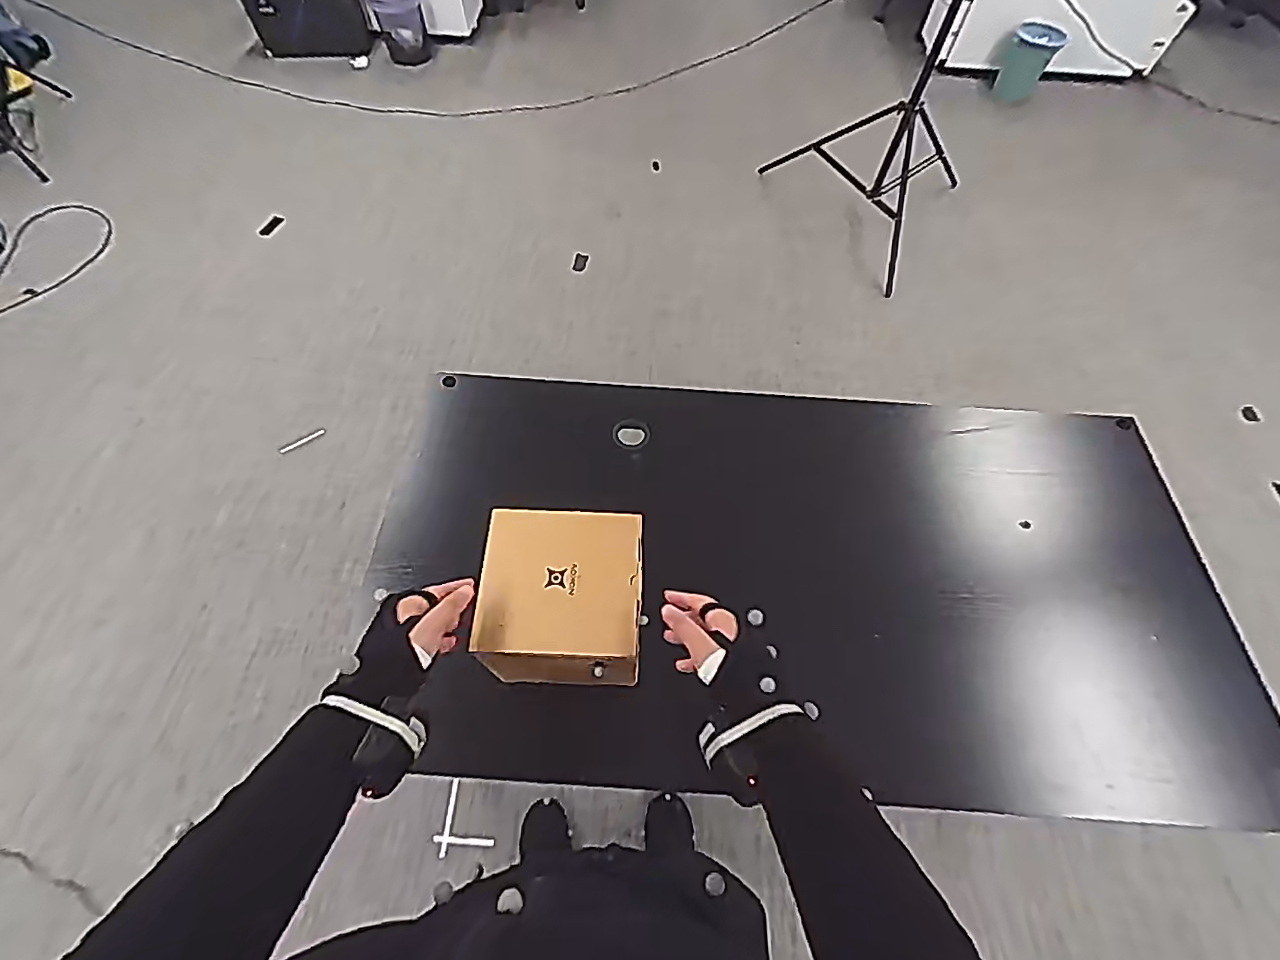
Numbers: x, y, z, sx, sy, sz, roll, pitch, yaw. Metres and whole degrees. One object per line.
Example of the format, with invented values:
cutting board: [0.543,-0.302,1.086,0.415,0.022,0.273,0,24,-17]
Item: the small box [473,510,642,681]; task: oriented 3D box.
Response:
small box: [-0.089,0.149,0.671,0.179,0.176,0.168,2,60,-1]
